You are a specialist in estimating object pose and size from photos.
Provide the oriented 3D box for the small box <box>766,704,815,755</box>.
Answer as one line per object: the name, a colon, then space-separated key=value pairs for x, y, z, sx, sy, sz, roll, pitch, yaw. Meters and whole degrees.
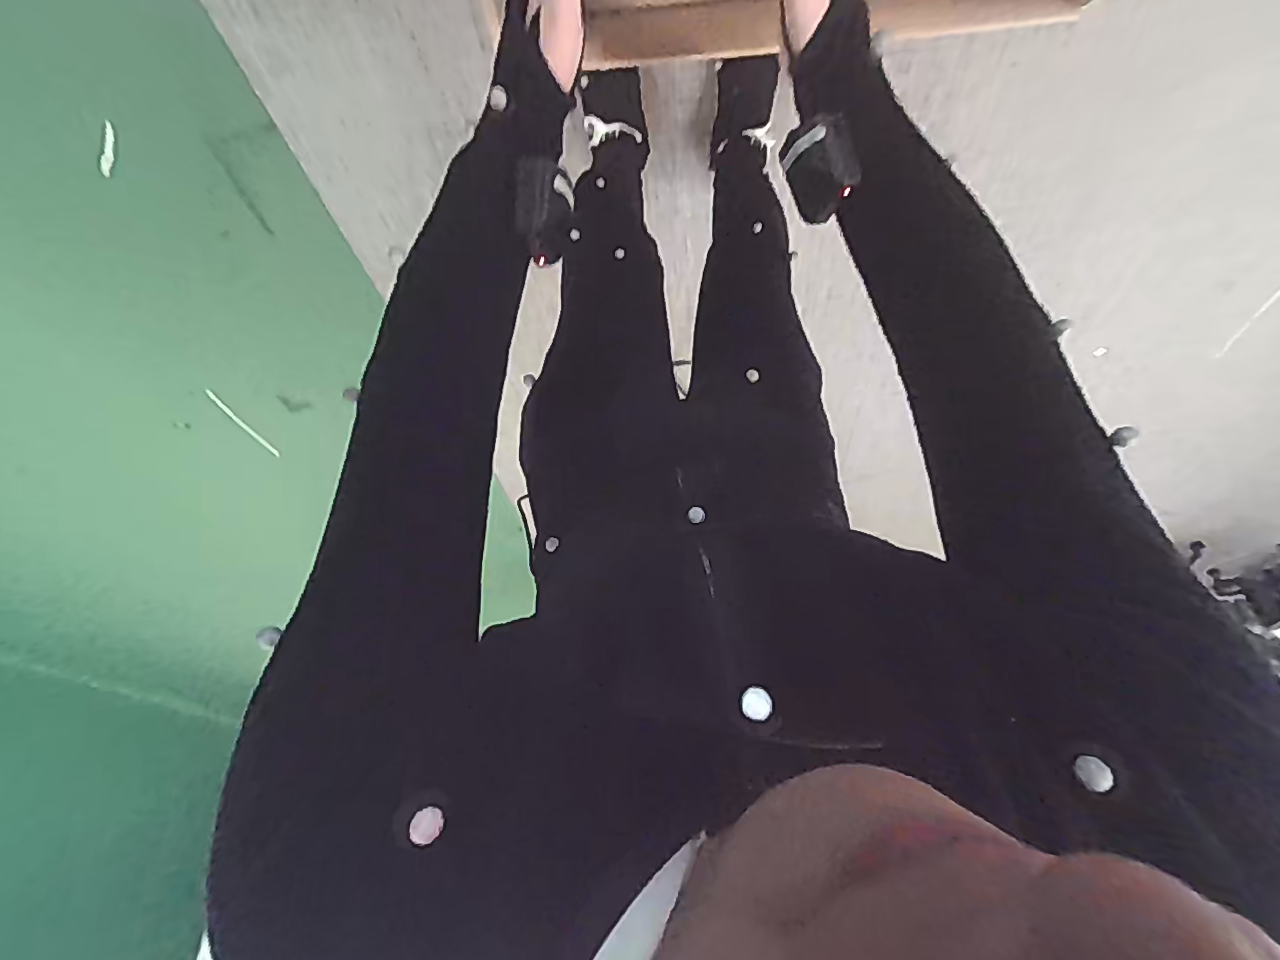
small box: x=0.638 y=1.067 z=2.316 sx=0.168 sy=0.176 sz=0.179 roll=-9 pitch=145 yaw=6
